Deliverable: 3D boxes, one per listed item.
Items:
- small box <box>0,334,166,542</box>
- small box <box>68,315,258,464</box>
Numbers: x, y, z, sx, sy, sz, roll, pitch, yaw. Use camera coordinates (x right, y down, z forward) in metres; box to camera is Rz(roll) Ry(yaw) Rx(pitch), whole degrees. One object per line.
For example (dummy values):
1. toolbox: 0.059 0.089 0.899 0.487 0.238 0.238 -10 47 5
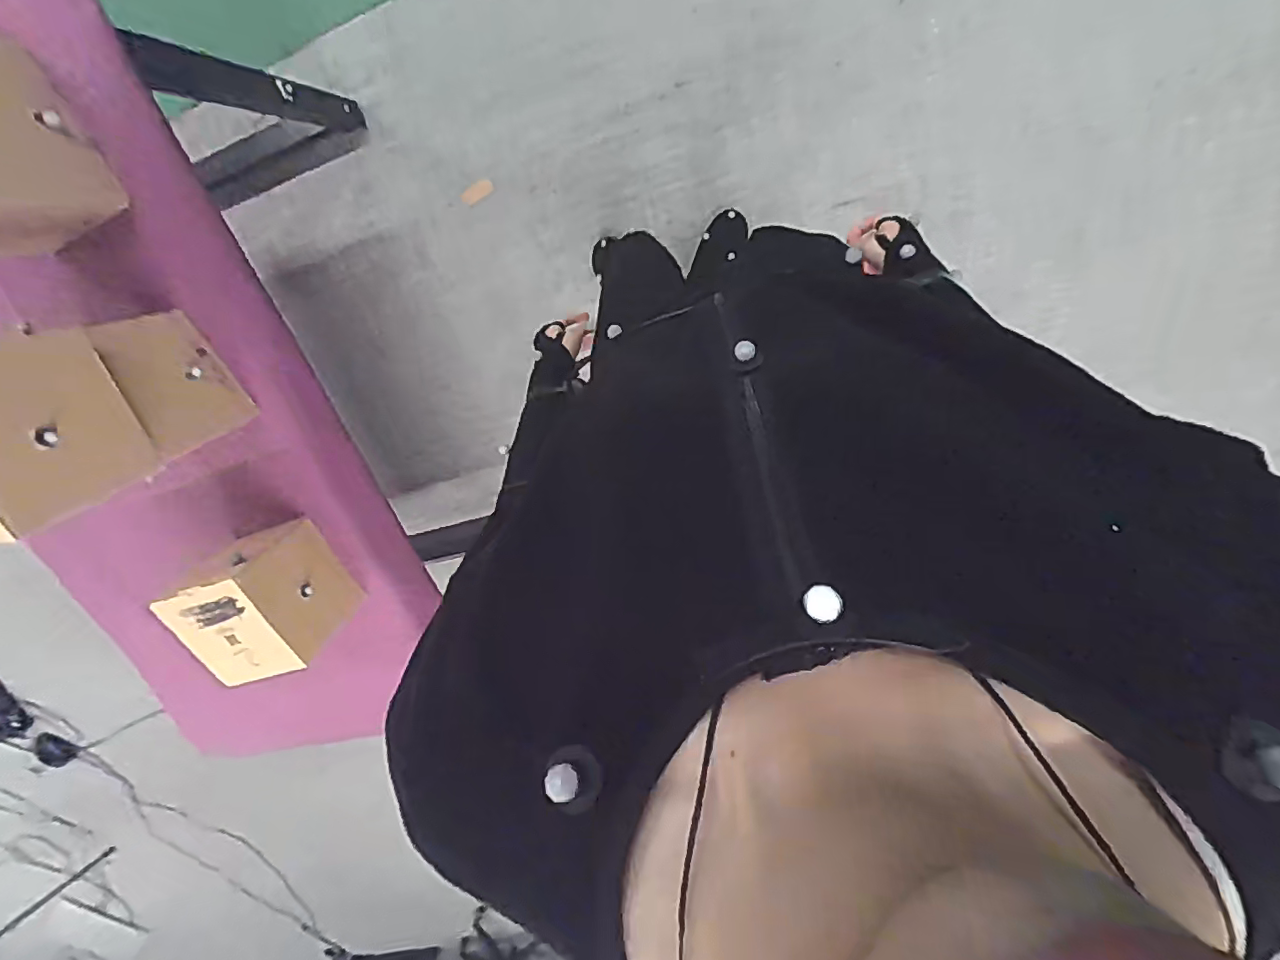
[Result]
1. small box: -0.676 -0.047 0.570 0.168 0.176 0.179 -6 117 10
2. small box: -0.677 -0.102 0.727 0.179 0.176 0.168 -20 113 16
